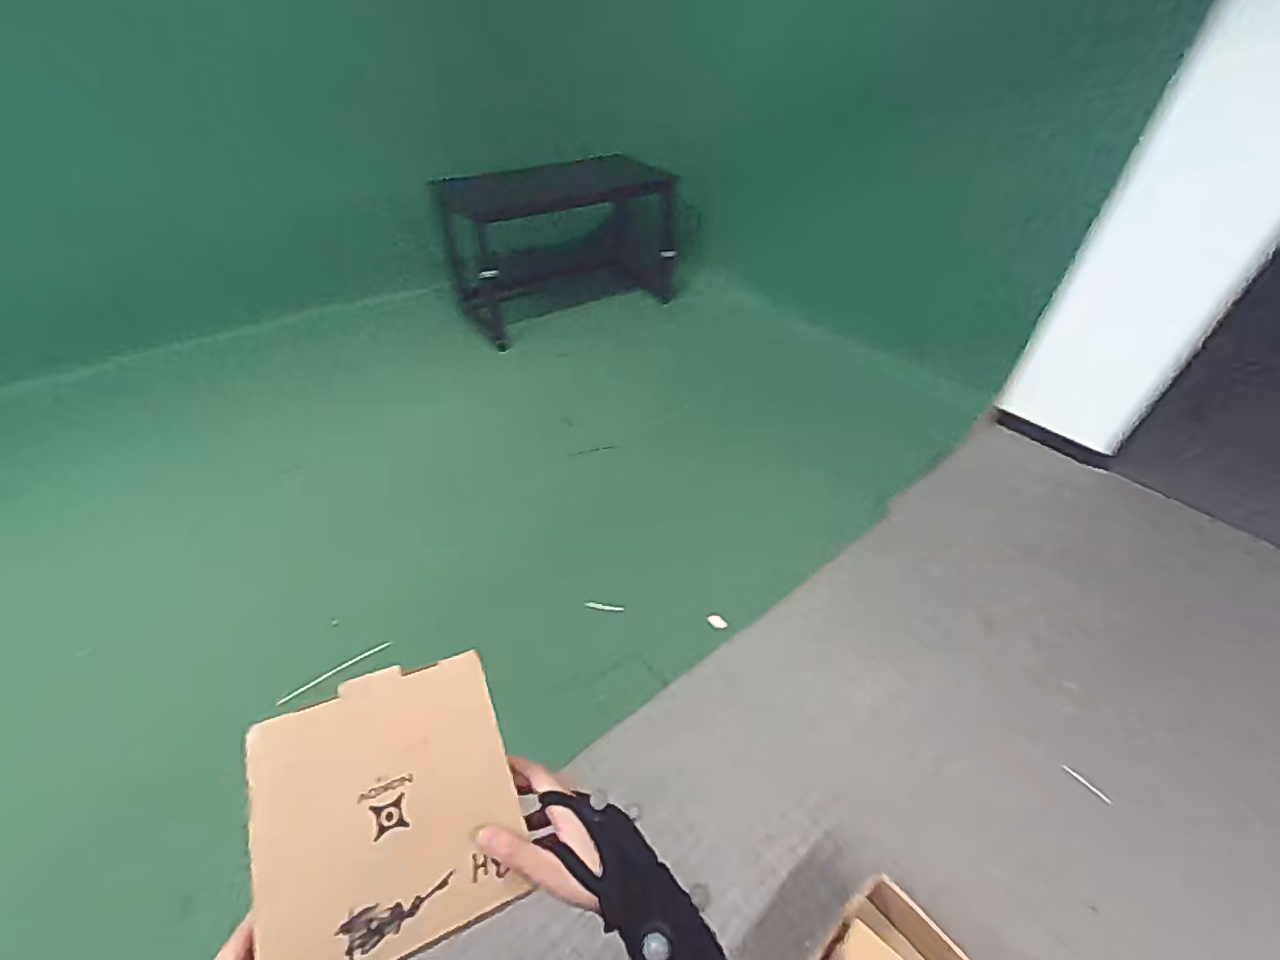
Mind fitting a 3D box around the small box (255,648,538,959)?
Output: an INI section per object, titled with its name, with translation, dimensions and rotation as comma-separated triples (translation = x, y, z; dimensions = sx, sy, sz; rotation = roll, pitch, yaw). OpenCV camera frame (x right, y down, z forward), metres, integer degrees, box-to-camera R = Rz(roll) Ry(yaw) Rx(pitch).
[small box]
translation = -0.190, 0.274, 0.445
dimensions = 0.168, 0.176, 0.179
rotation = -15, 55, -22
